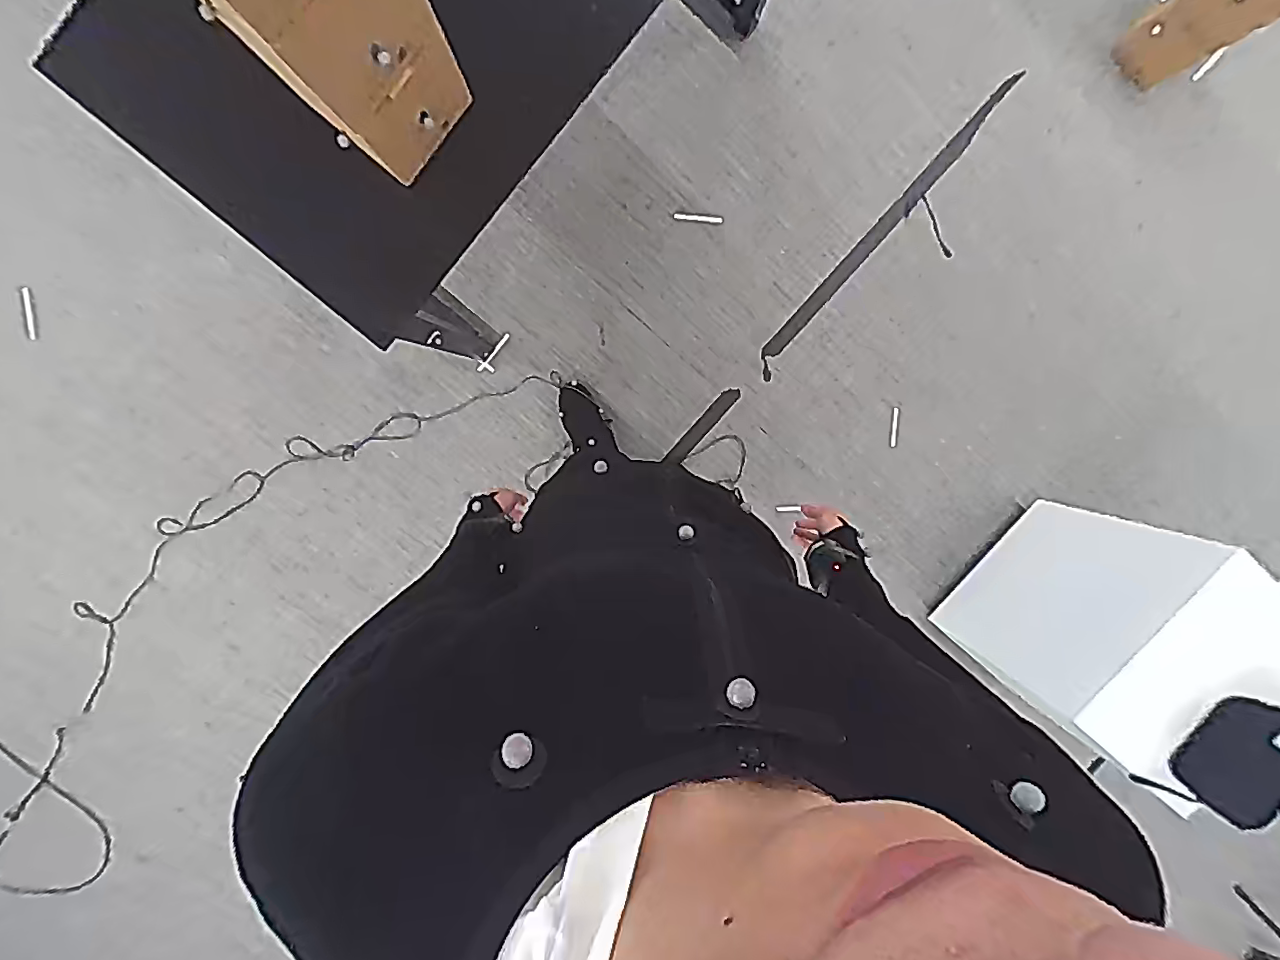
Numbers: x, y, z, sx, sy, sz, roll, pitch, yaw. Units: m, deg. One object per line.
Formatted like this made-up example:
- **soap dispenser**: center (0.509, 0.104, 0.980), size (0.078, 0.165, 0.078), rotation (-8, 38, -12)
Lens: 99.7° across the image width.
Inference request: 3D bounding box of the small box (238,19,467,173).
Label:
- **small box**: center (-0.357, -0.543, 0.712), size (0.179, 0.176, 0.168), rotation (38, 95, -8)

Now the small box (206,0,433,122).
- **small box**: center (-0.349, -0.519, 0.549), size (0.179, 0.176, 0.168), rotation (39, 95, -8)

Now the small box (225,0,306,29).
- **small box**: center (-0.339, -0.495, 0.388), size (0.179, 0.176, 0.168), rotation (39, 96, -8)

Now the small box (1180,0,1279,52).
- **small box**: center (1.465, -1.183, 1.283), size (0.179, 0.176, 0.168), rotation (41, 94, -10)
